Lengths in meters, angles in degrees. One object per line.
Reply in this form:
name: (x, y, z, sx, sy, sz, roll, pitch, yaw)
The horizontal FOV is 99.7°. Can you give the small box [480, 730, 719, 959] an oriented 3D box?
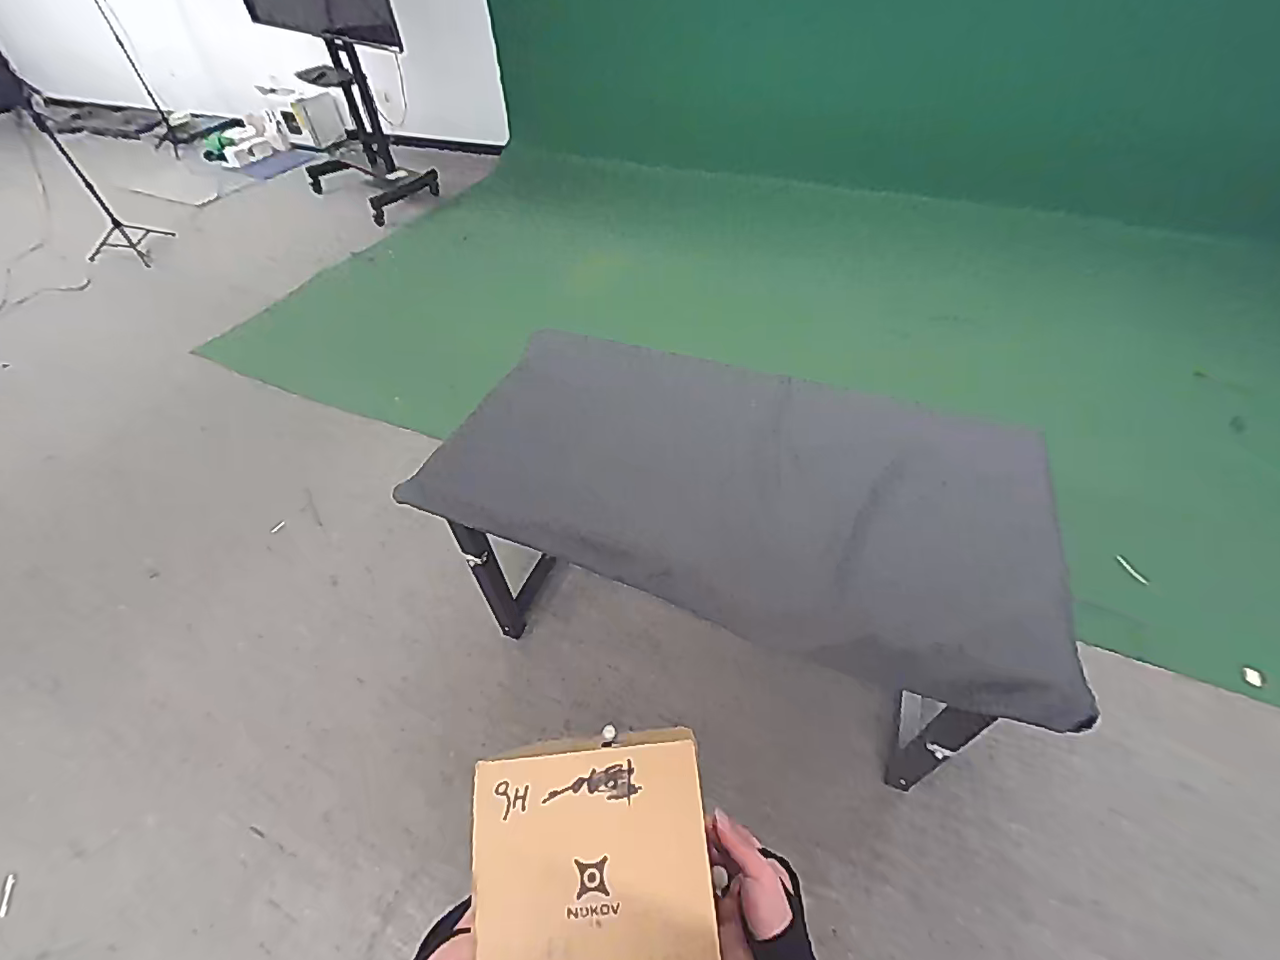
small box: (-0.026, 0.318, 0.451, 0.168, 0.176, 0.179, -6, 69, 1)
